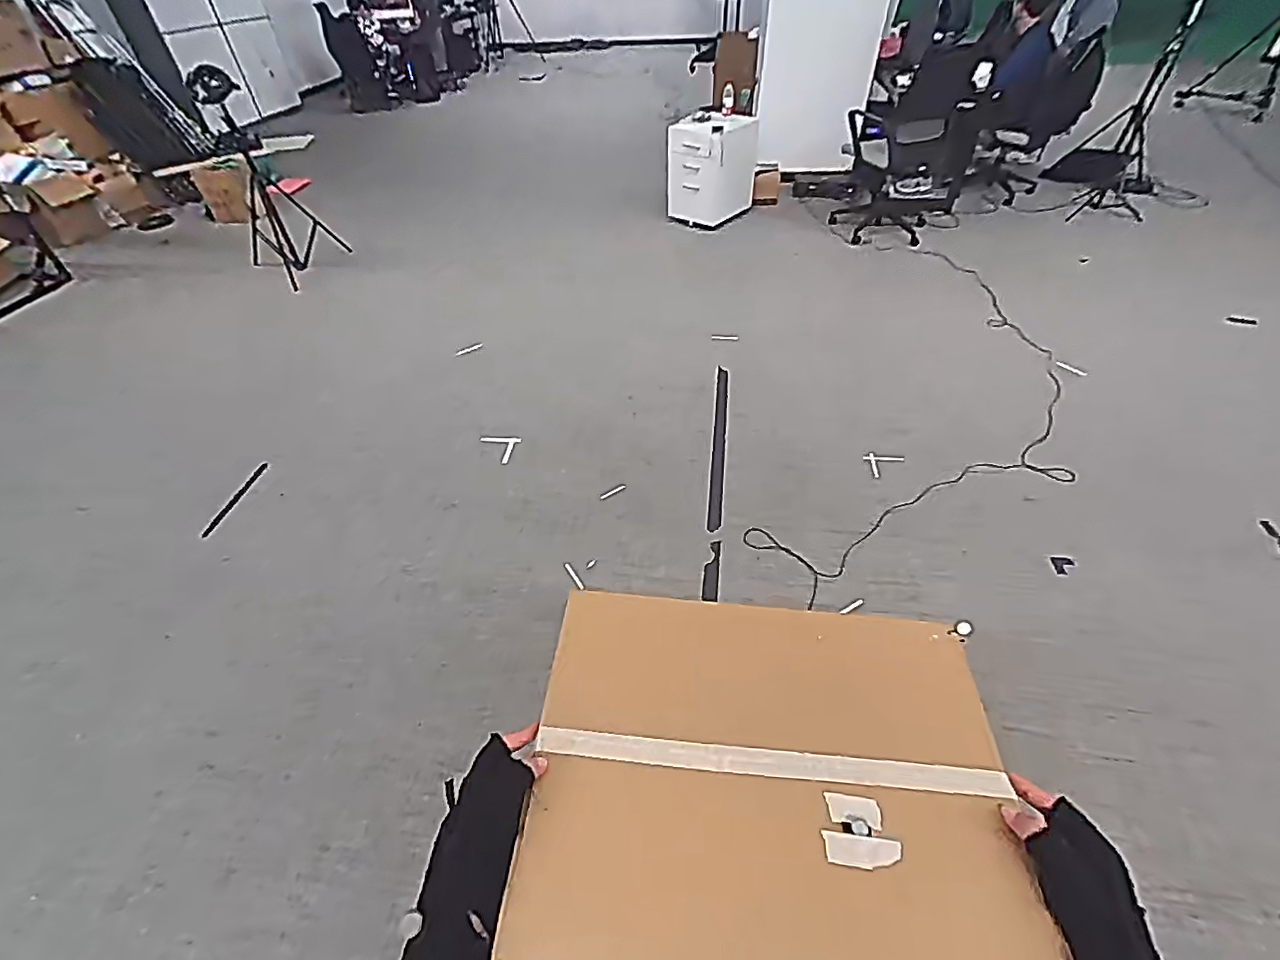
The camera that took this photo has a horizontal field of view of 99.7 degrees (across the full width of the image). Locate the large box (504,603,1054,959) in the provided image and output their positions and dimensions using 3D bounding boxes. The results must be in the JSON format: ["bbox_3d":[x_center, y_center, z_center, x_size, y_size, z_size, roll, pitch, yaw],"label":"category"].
[{"bbox_3d":[0.107,0.359,0.581,0.408,0.320,0.320,4,46,3],"label":"large box"}]
